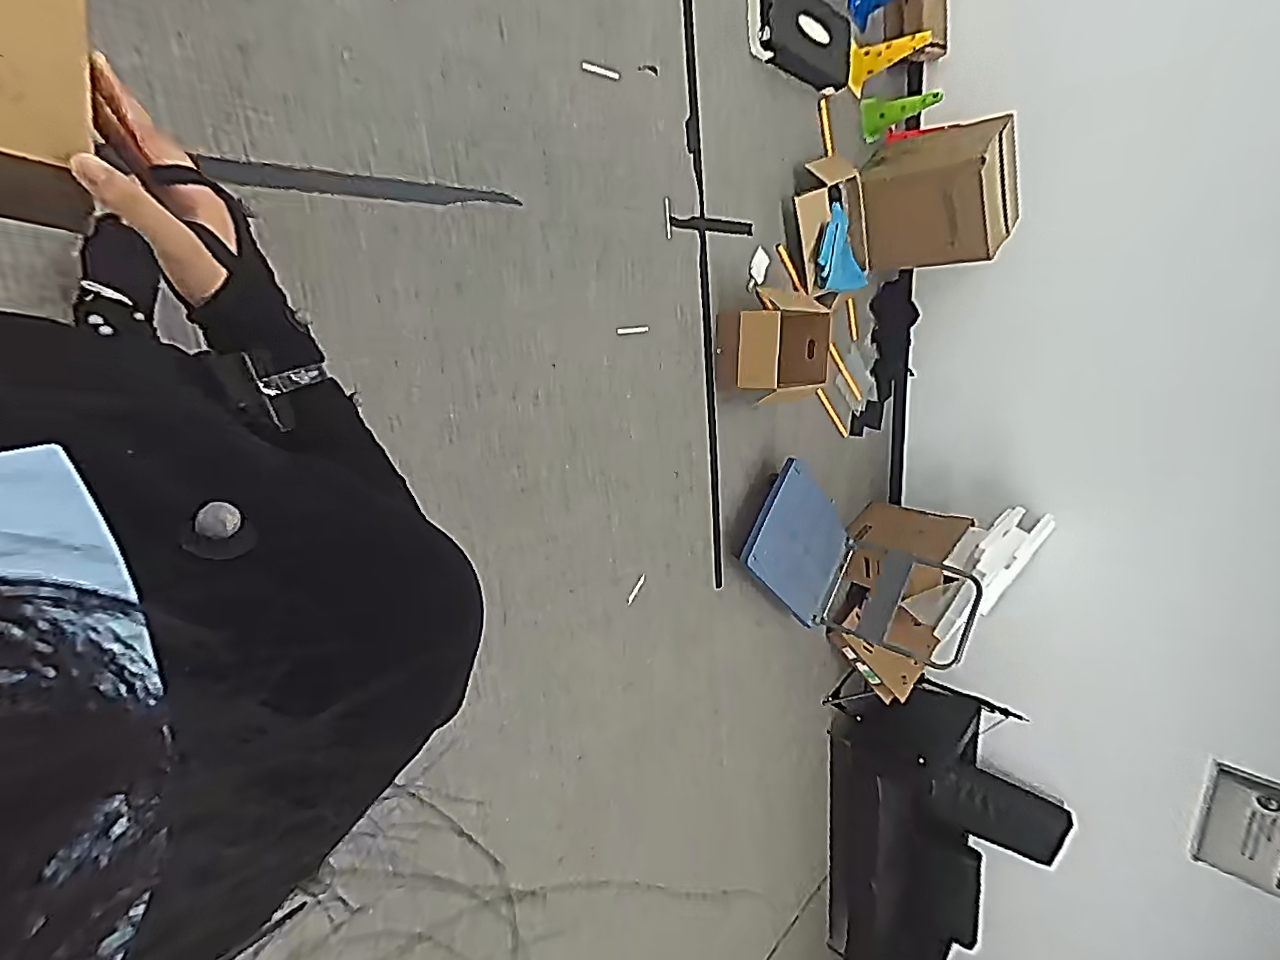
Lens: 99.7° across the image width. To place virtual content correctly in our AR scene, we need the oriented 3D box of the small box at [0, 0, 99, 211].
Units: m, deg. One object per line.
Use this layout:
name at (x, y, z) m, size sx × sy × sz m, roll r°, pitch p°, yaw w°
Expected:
small box at (-0.409, -0.271, 0.291) m, size 0.168 × 0.176 × 0.179 m, roll -3°, pitch 97°, yaw -47°
